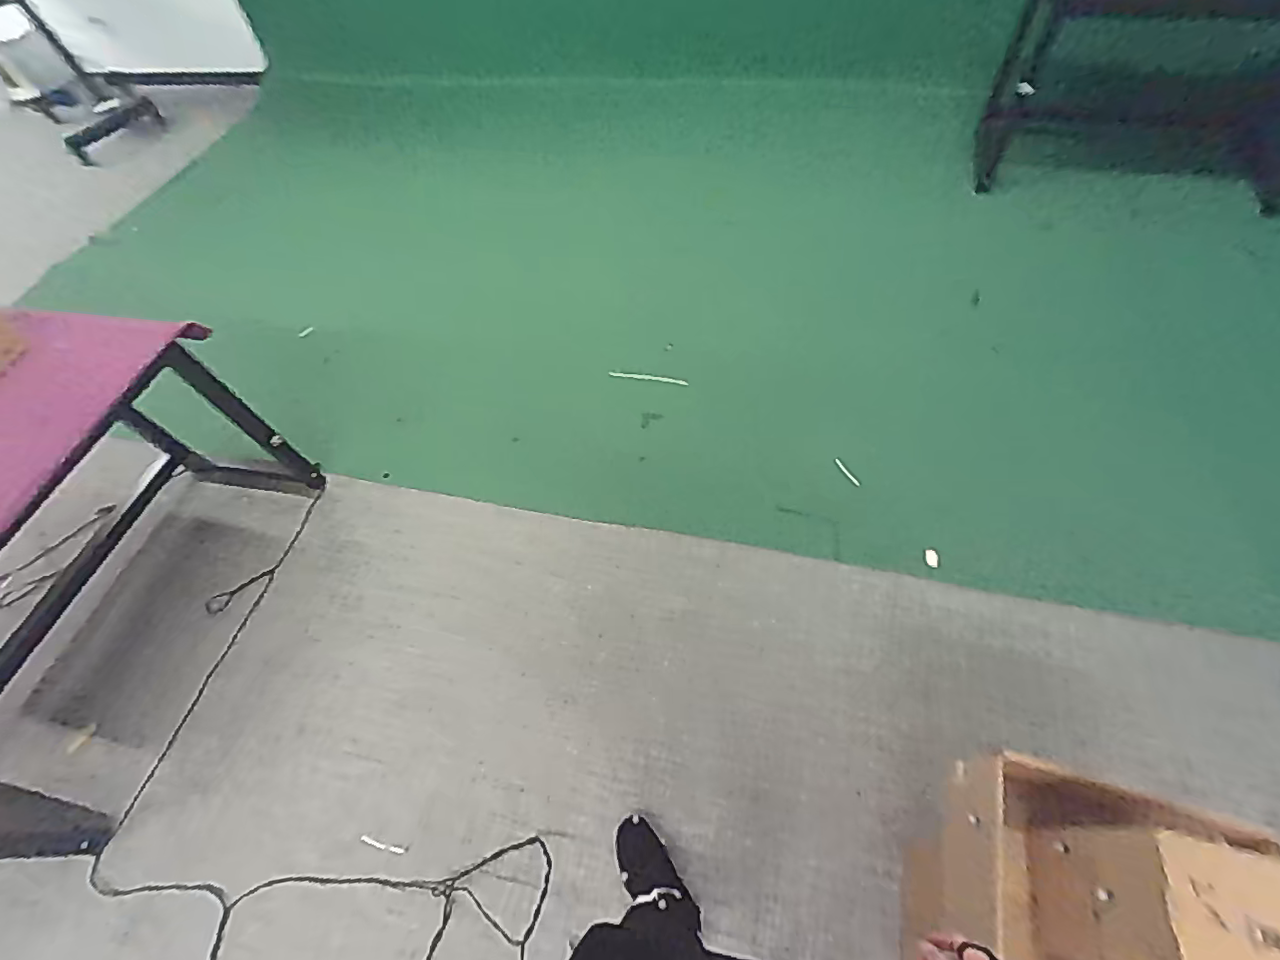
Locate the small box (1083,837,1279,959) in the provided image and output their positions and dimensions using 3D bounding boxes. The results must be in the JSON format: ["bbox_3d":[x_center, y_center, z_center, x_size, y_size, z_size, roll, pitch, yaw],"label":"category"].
[{"bbox_3d":[0.699,0.556,0.664,0.179,0.176,0.168,11,58,13],"label":"small box"}]

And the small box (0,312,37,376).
[{"bbox_3d":[-1.678,-0.350,1.322,0.179,0.176,0.168,6,59,10],"label":"small box"}]
